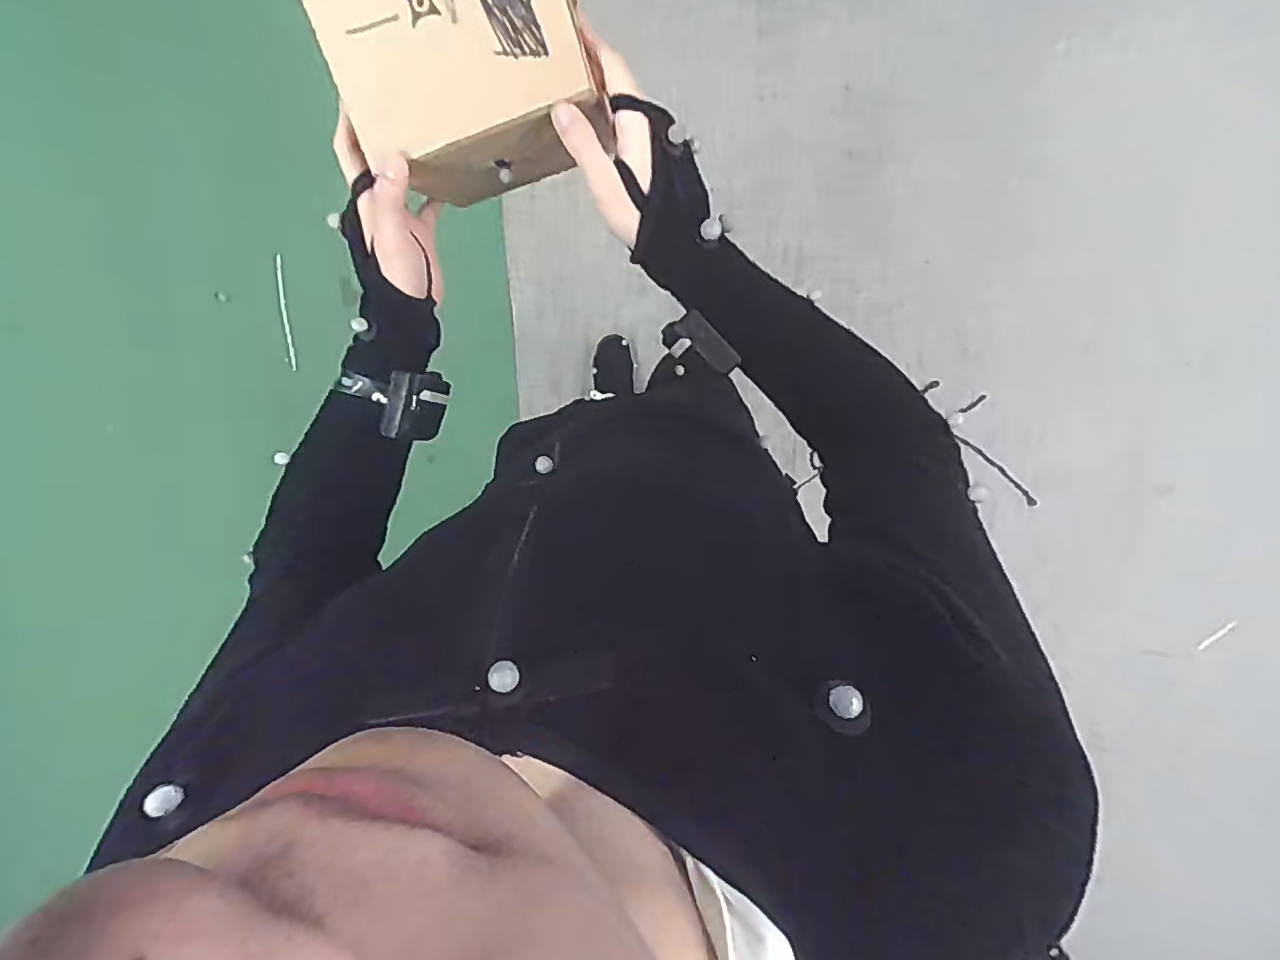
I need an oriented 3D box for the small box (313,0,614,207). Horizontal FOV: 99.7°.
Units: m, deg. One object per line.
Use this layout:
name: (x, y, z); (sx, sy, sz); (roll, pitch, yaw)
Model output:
small box: (-0.125, -0.344, 0.440); (0.179, 0.176, 0.168); (-13, 106, 10)
